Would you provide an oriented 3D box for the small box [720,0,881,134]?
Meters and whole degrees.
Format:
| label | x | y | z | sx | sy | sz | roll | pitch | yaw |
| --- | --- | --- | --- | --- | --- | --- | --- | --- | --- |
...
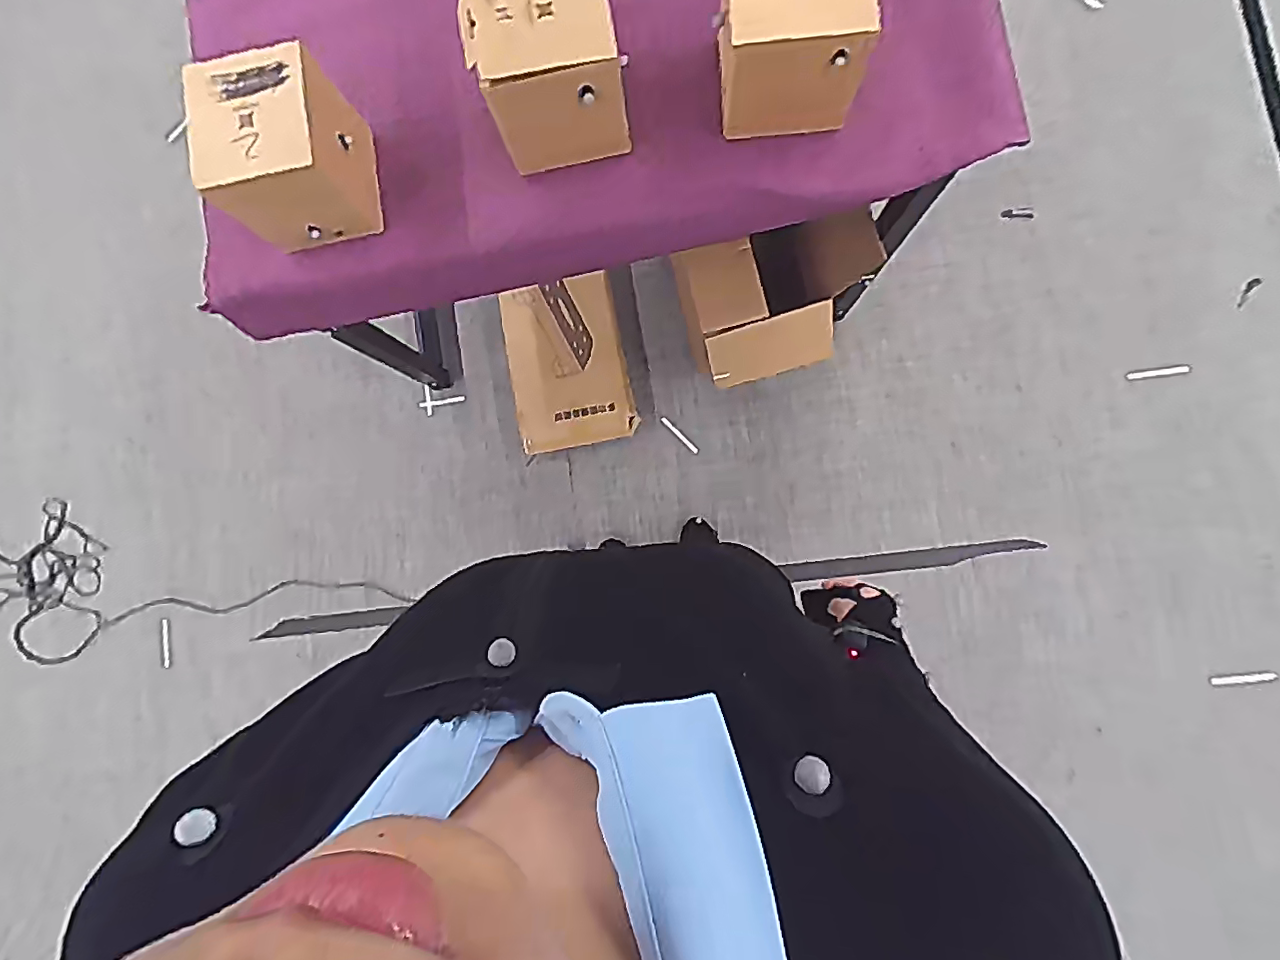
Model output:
| label | x | y | z | sx | sy | sz | roll | pitch | yaw |
| --- | --- | --- | --- | --- | --- | --- | --- | --- | --- |
| small box | 0.199 | -0.598 | 0.723 | 0.179 | 0.176 | 0.168 | -3 | 86 | 4 |

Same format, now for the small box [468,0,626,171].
| label | x | y | z | sx | sy | sz | roll | pitch | yaw |
| --- | --- | --- | --- | --- | --- | --- | --- | --- | --- |
| small box | -0.117 | -0.565 | 0.744 | 0.179 | 0.176 | 0.168 | -10 | 83 | 4 |
